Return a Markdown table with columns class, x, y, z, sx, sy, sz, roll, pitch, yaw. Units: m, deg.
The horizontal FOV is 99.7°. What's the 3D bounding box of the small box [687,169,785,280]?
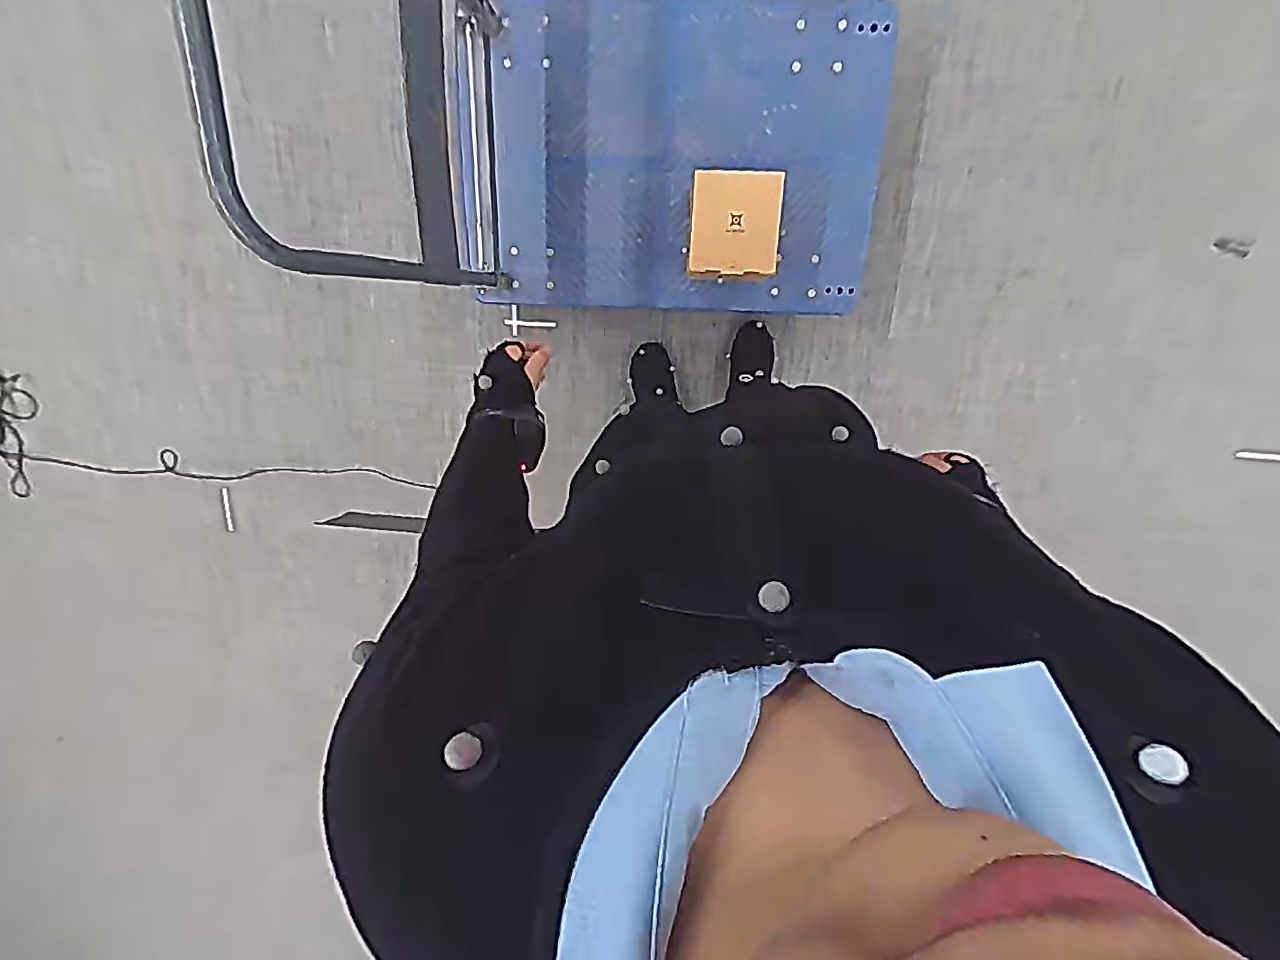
| class | x | y | z | sx | sy | sz | roll | pitch | yaw |
| --- | --- | --- | --- | --- | --- | --- | --- | --- | --- |
| small box | 0.183 | -0.501 | 1.079 | 0.168 | 0.176 | 0.179 | 3 | 107 | 3 |
